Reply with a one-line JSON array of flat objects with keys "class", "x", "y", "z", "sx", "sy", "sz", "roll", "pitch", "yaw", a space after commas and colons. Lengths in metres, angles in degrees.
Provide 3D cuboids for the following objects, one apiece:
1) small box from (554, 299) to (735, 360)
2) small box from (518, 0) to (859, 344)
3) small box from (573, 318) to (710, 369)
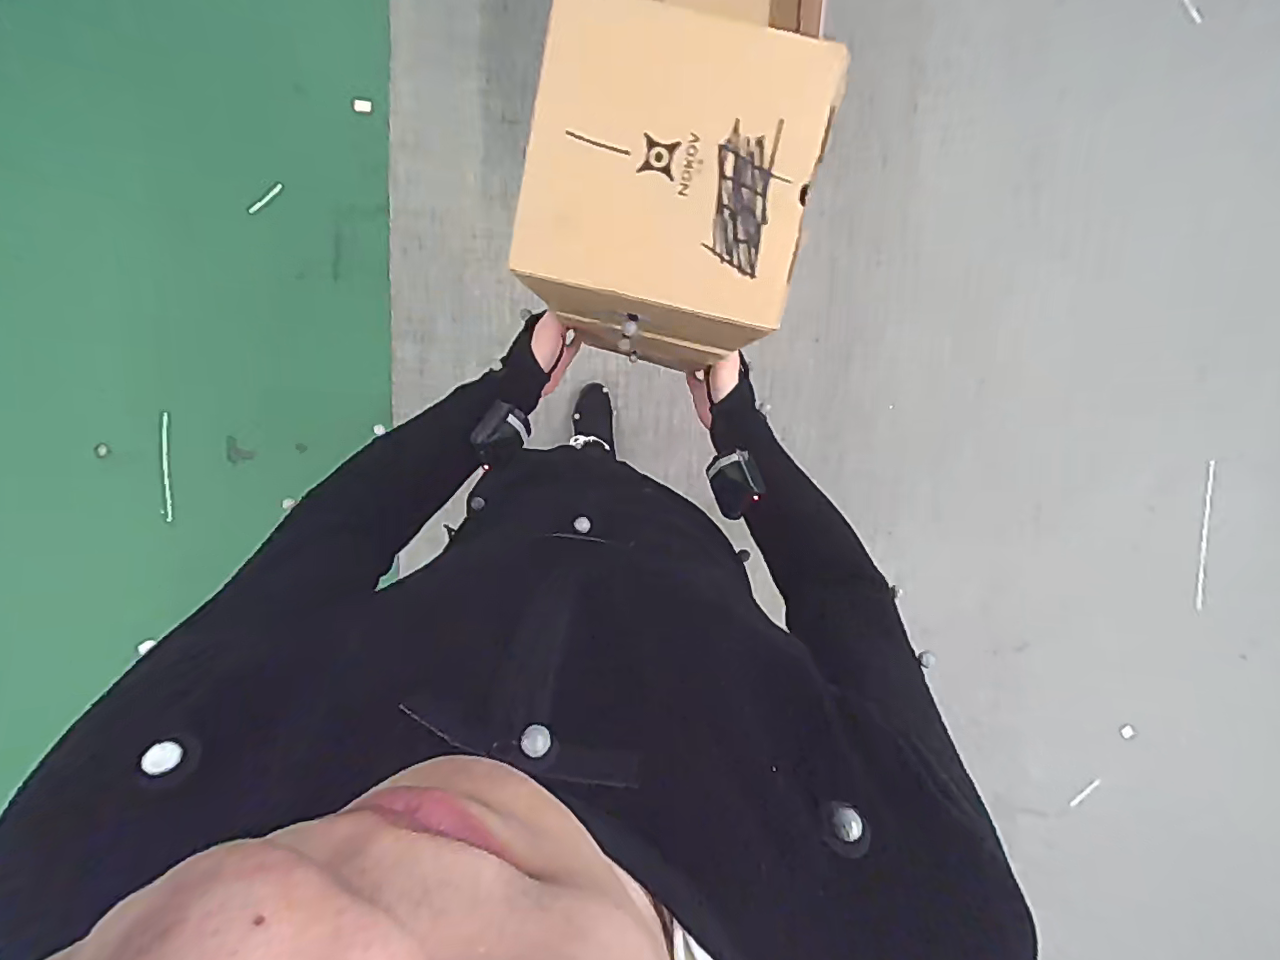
[{"class": "small box", "x": 0.025, "y": -0.228, "z": 0.566, "sx": 0.179, "sy": 0.176, "sz": 0.168, "roll": 14, "pitch": 99, "yaw": -2}, {"class": "small box", "x": 0.027, "y": -0.203, "z": 0.403, "sx": 0.179, "sy": 0.176, "sz": 0.168, "roll": 13, "pitch": 99, "yaw": -2}, {"class": "small box", "x": 0.023, "y": -0.252, "z": 0.728, "sx": 0.179, "sy": 0.176, "sz": 0.168, "roll": 16, "pitch": 99, "yaw": -3}]
